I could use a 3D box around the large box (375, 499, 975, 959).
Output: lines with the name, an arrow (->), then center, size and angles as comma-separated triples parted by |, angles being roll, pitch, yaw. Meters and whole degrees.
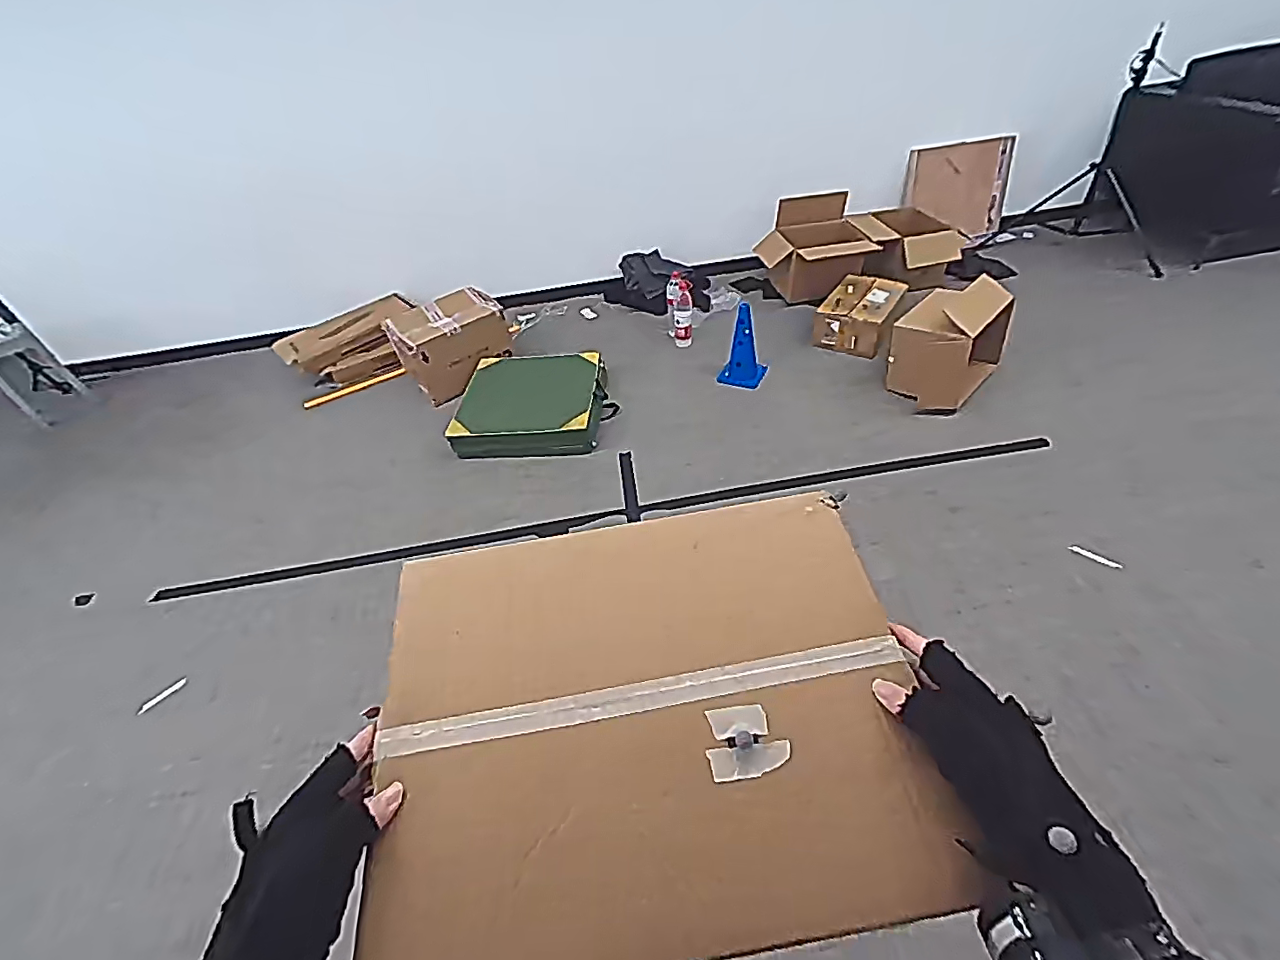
large box -> 0.013, 0.261, 0.551 | 0.408, 0.320, 0.320 | -10, 54, -2
